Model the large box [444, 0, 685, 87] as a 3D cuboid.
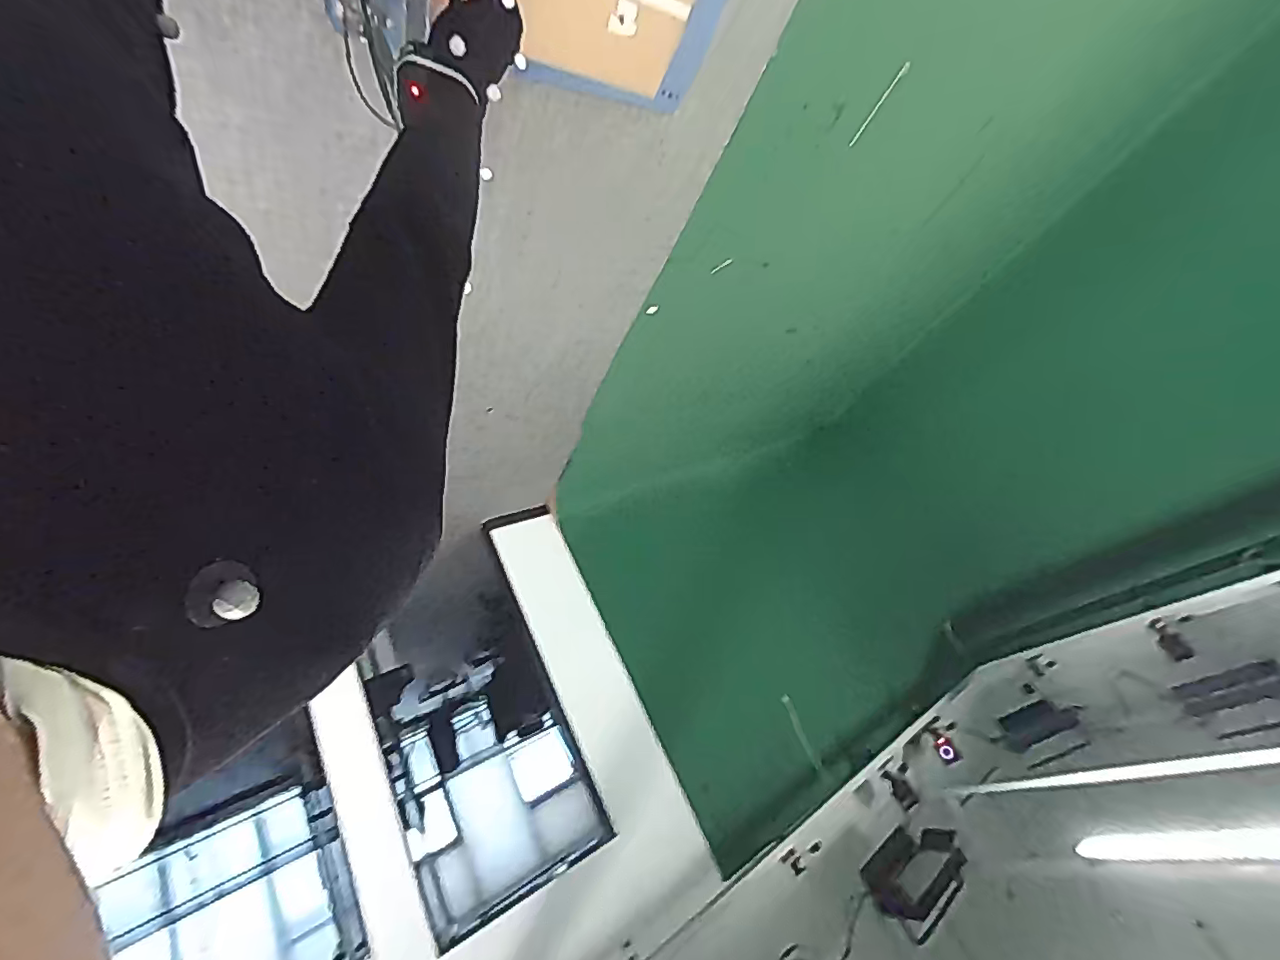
[{"bbox_3d":[-0.144,-0.978,0.947,0.408,0.320,0.320,-13,155,-36],"label":"large box"}]
